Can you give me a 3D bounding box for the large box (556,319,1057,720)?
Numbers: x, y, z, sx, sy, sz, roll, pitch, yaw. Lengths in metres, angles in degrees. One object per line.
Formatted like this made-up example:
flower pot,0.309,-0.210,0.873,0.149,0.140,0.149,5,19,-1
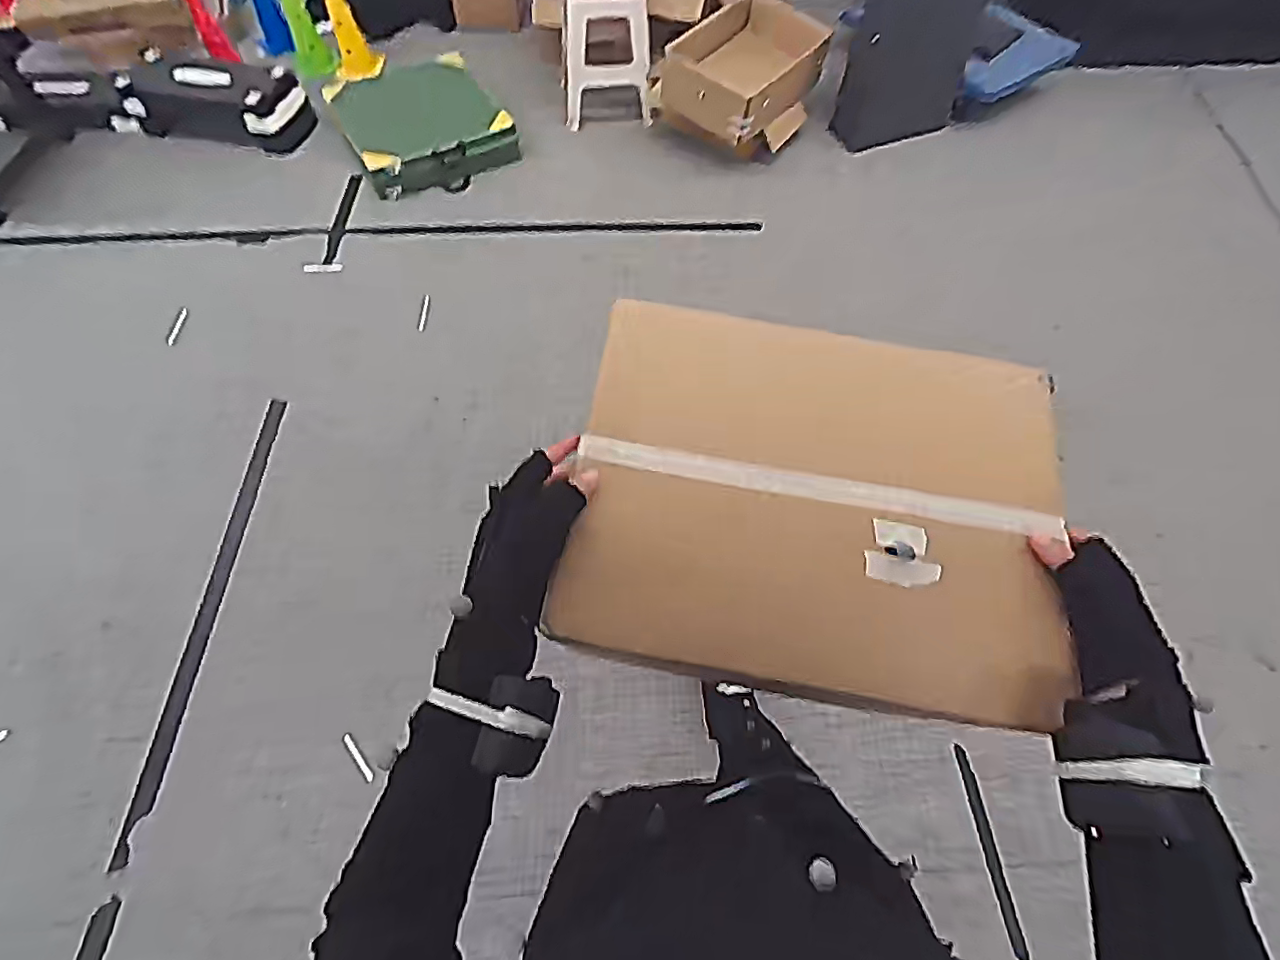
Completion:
large box,0.144,0.063,0.610,0.408,0.320,0.320,10,71,2
